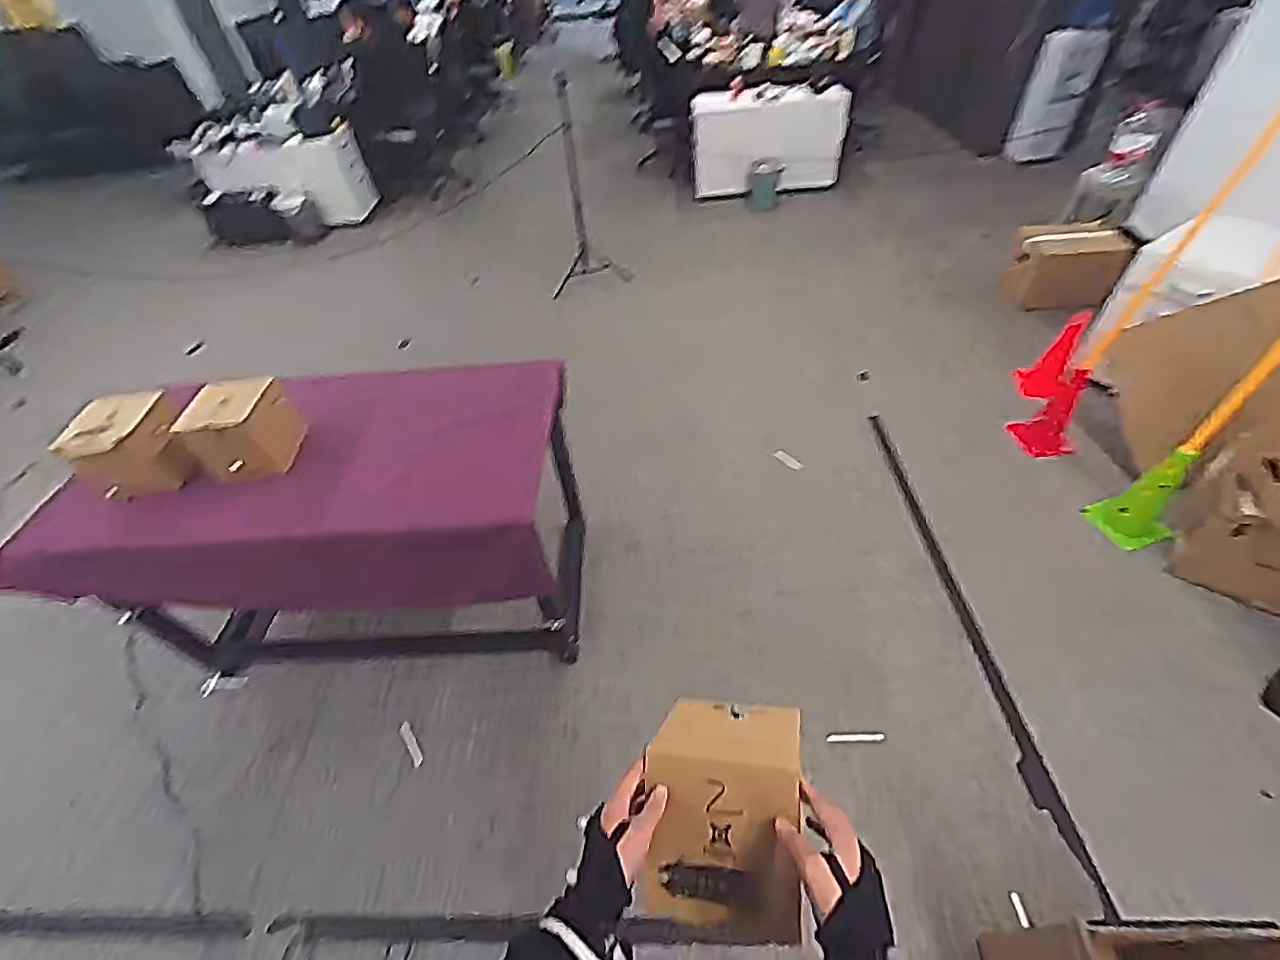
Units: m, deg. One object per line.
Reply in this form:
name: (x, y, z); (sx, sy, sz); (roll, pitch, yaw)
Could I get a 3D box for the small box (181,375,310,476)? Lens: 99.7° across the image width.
small box: (-0.943, -0.132, 1.317); (0.168, 0.176, 0.179); (-6, 47, 0)

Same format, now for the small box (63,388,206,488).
small box: (-1.197, -0.096, 1.307); (0.168, 0.176, 0.179); (-9, 46, -3)
